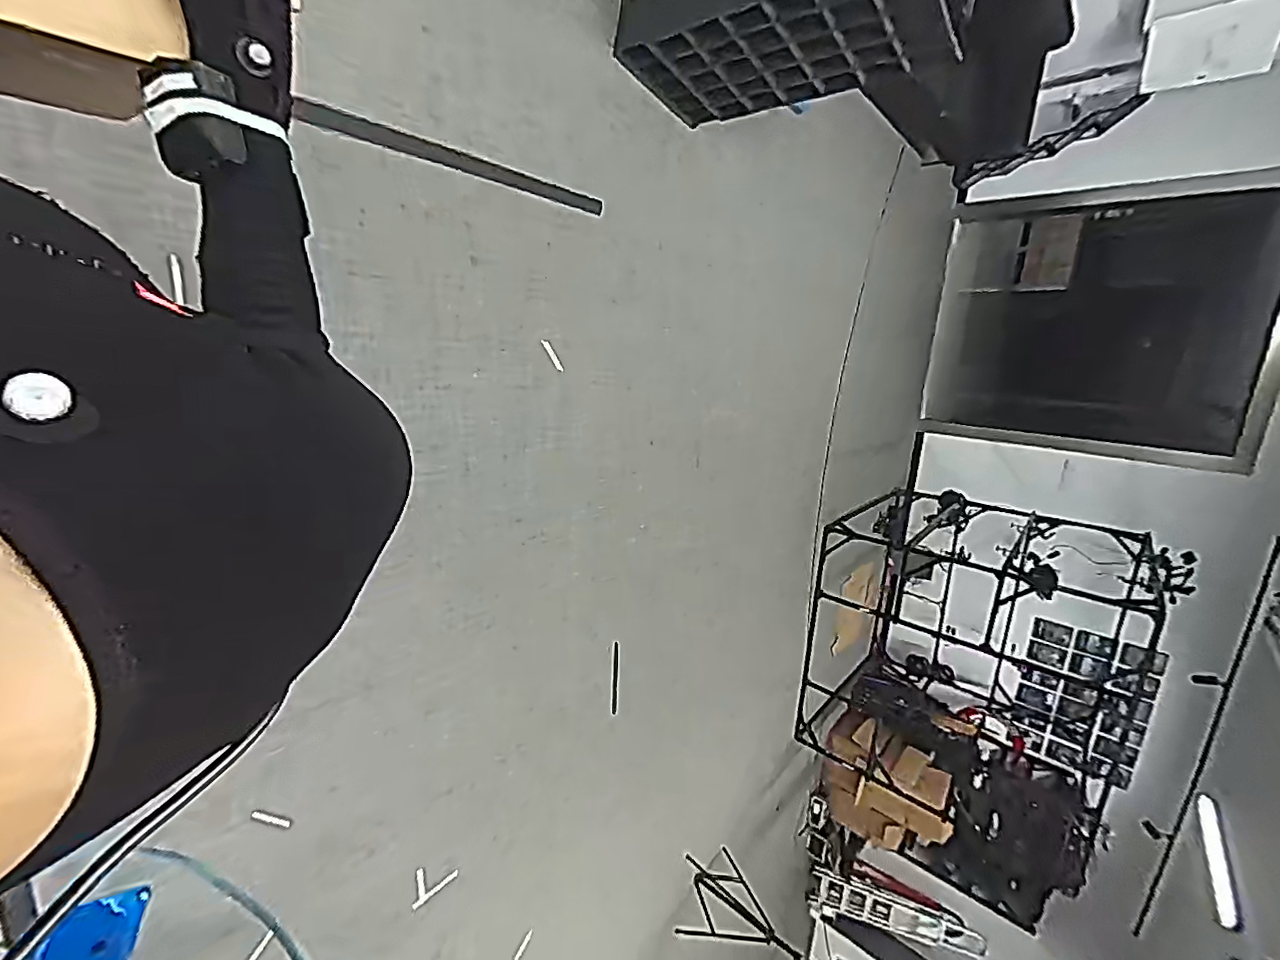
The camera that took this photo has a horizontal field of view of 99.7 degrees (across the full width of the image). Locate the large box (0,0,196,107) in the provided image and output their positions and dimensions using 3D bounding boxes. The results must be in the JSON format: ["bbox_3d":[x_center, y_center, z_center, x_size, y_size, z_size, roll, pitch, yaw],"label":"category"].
[{"bbox_3d":[-0.561,-0.461,0.299,0.408,0.320,0.320,-16,119,-48],"label":"large box"}]

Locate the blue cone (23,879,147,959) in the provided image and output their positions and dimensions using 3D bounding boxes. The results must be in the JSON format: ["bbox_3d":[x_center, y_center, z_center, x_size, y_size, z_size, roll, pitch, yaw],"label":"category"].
[{"bbox_3d":[-1.121,1.049,1.109,0.193,0.380,0.192,20,86,-52],"label":"blue cone"}]
